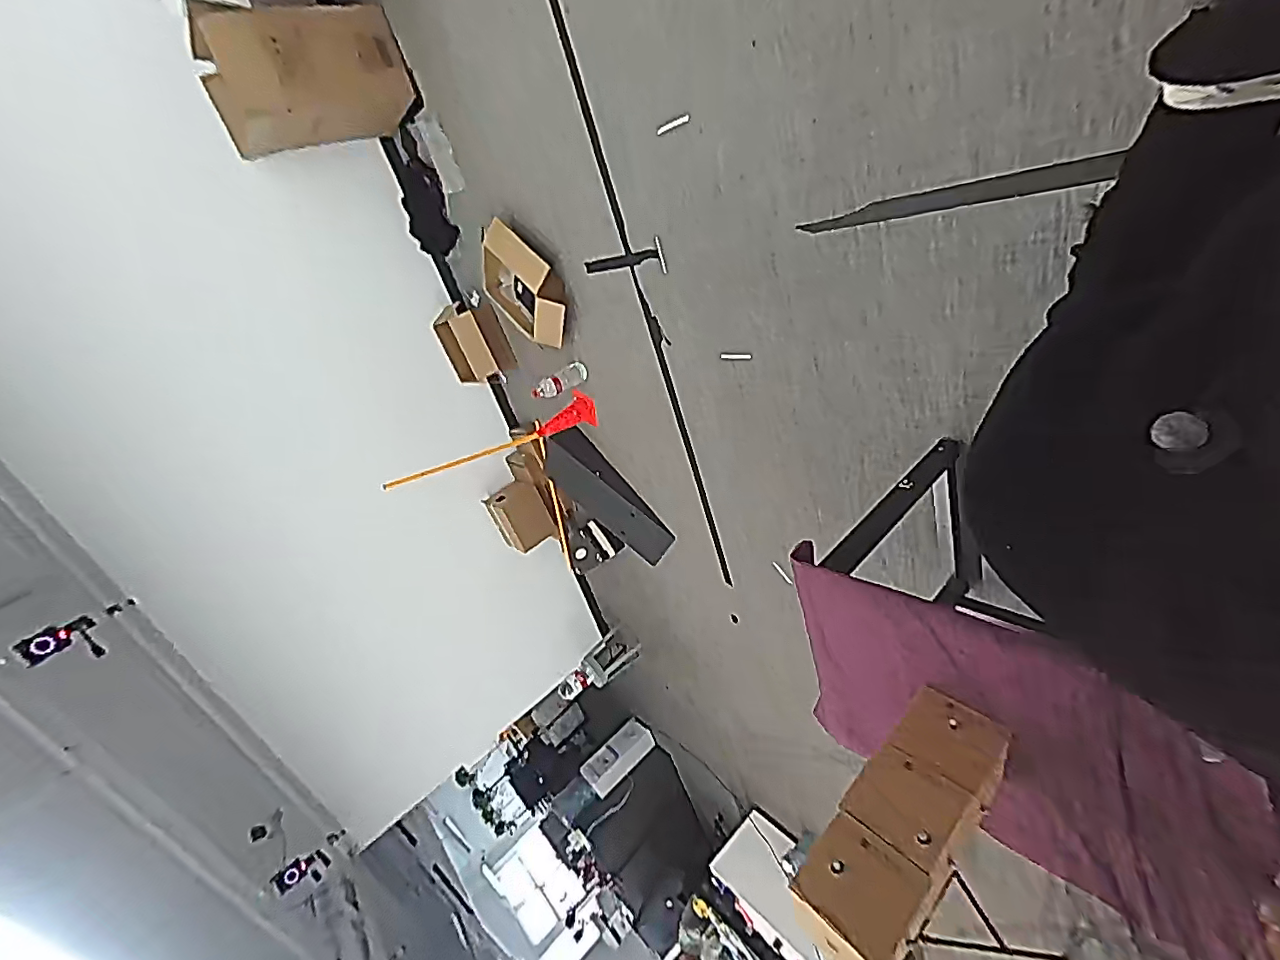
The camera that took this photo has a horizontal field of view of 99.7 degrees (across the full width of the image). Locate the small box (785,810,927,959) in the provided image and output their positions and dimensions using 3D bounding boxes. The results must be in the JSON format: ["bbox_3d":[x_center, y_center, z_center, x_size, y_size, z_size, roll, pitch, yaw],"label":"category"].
[{"bbox_3d":[0.372,0.719,0.930,0.168,0.176,0.179,25,141,45],"label":"small box"}]

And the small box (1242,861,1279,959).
[{"bbox_3d":[0.915,0.634,0.691,0.168,0.176,0.179,19,134,49],"label":"small box"}]

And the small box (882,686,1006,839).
[{"bbox_3d":[0.609,0.560,1.089,0.168,0.176,0.179,22,137,45],"label":"small box"}]
